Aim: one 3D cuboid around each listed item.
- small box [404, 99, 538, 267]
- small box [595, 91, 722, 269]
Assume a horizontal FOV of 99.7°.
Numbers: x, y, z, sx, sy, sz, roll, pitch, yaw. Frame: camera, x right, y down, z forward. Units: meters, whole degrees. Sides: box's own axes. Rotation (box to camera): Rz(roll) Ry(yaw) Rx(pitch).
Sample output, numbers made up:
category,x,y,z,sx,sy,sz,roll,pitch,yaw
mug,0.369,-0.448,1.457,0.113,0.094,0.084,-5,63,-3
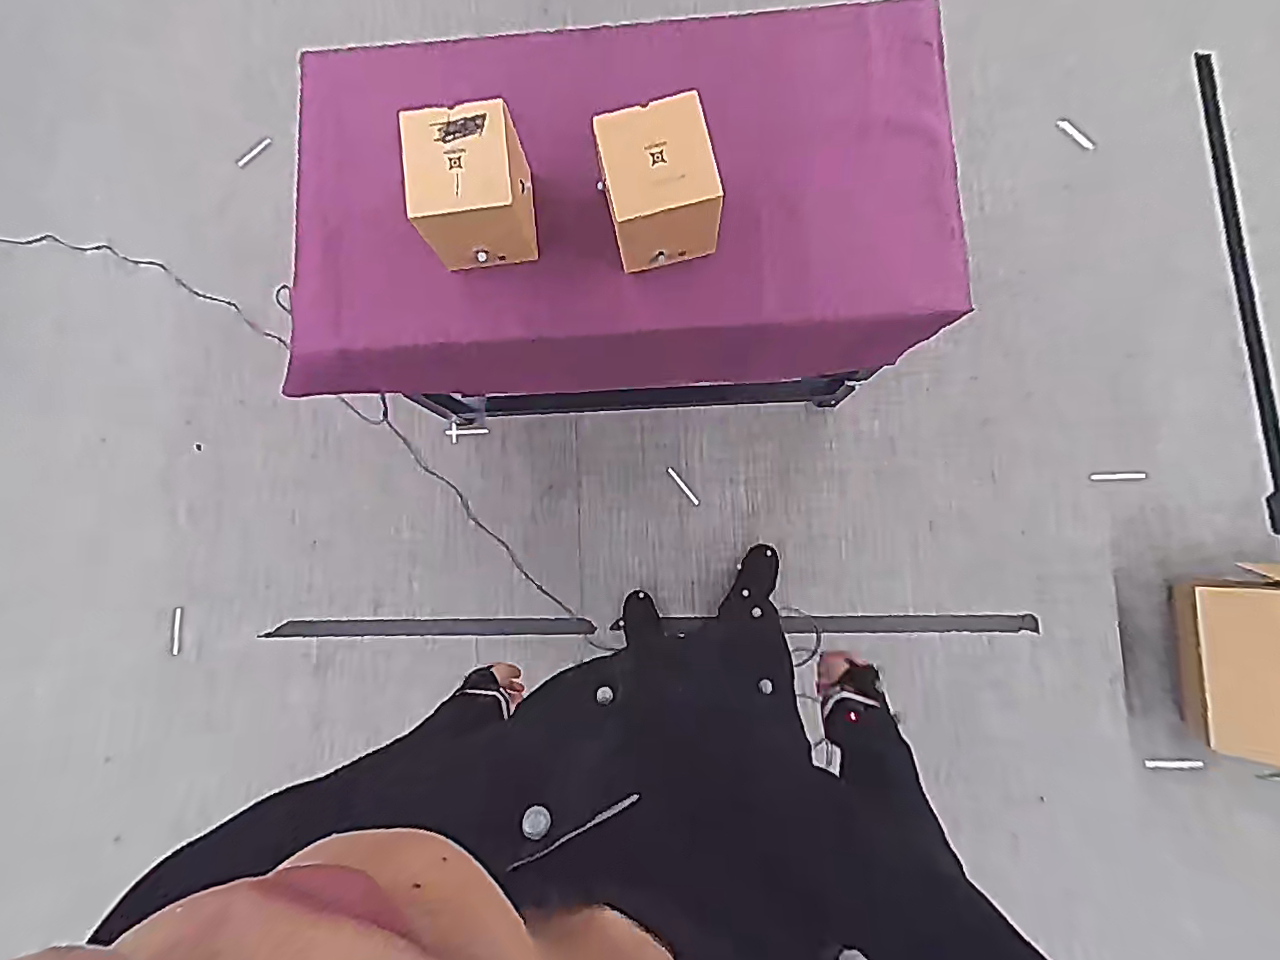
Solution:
category,x,y,z,sx,sy,sz,roll,pitch,yaw
small box,-0.276,-0.487,0.908,0.168,0.176,0.179,-7,84,2
small box,0.030,-0.482,0.892,0.168,0.176,0.179,-13,83,2
